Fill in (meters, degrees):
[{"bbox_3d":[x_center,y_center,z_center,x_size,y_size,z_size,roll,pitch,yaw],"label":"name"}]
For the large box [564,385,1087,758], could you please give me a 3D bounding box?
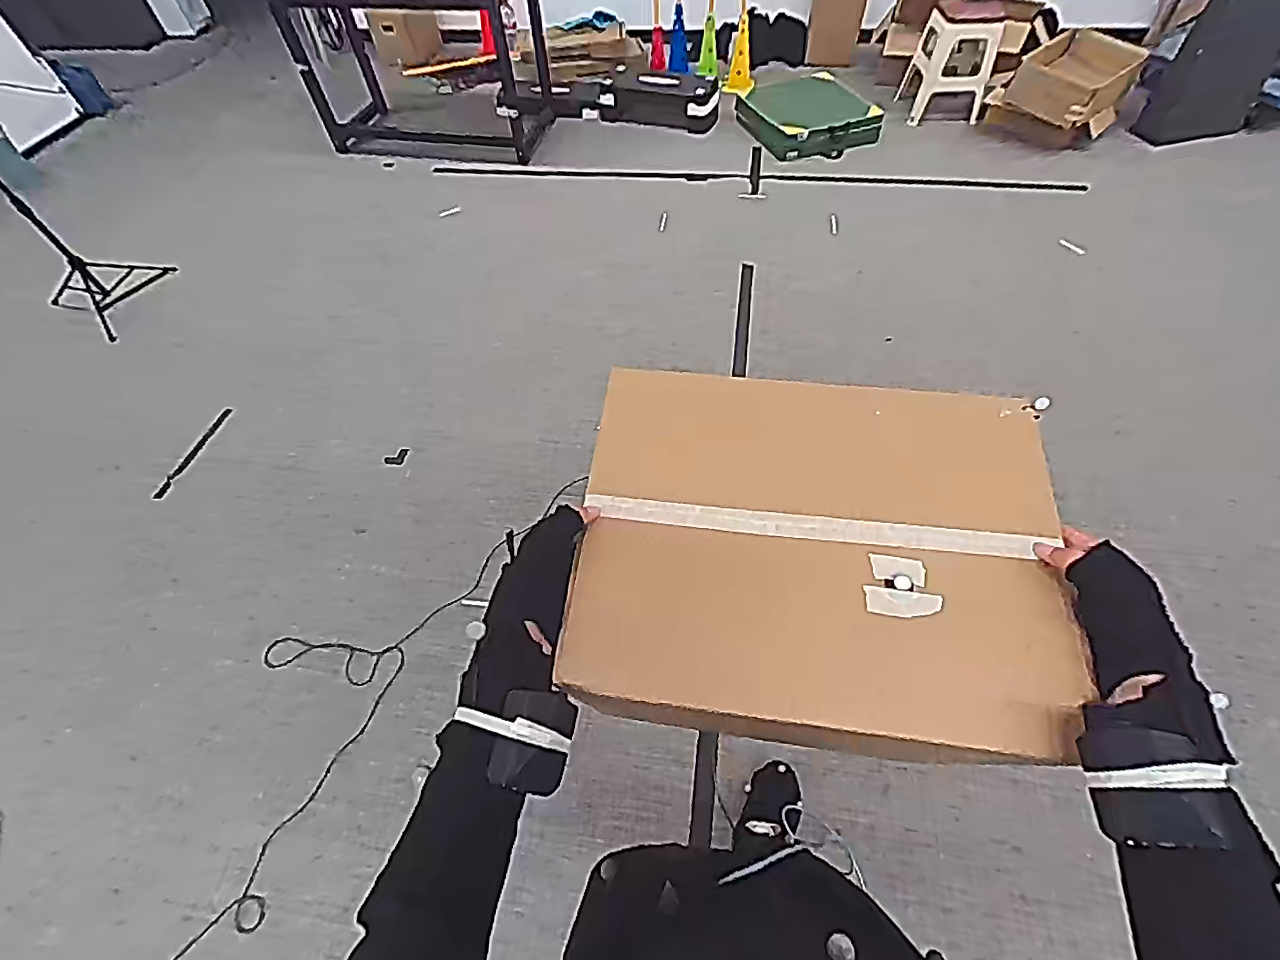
[{"bbox_3d":[0.156,0.119,0.612,0.408,0.320,0.320,6,64,6],"label":"large box"}]
